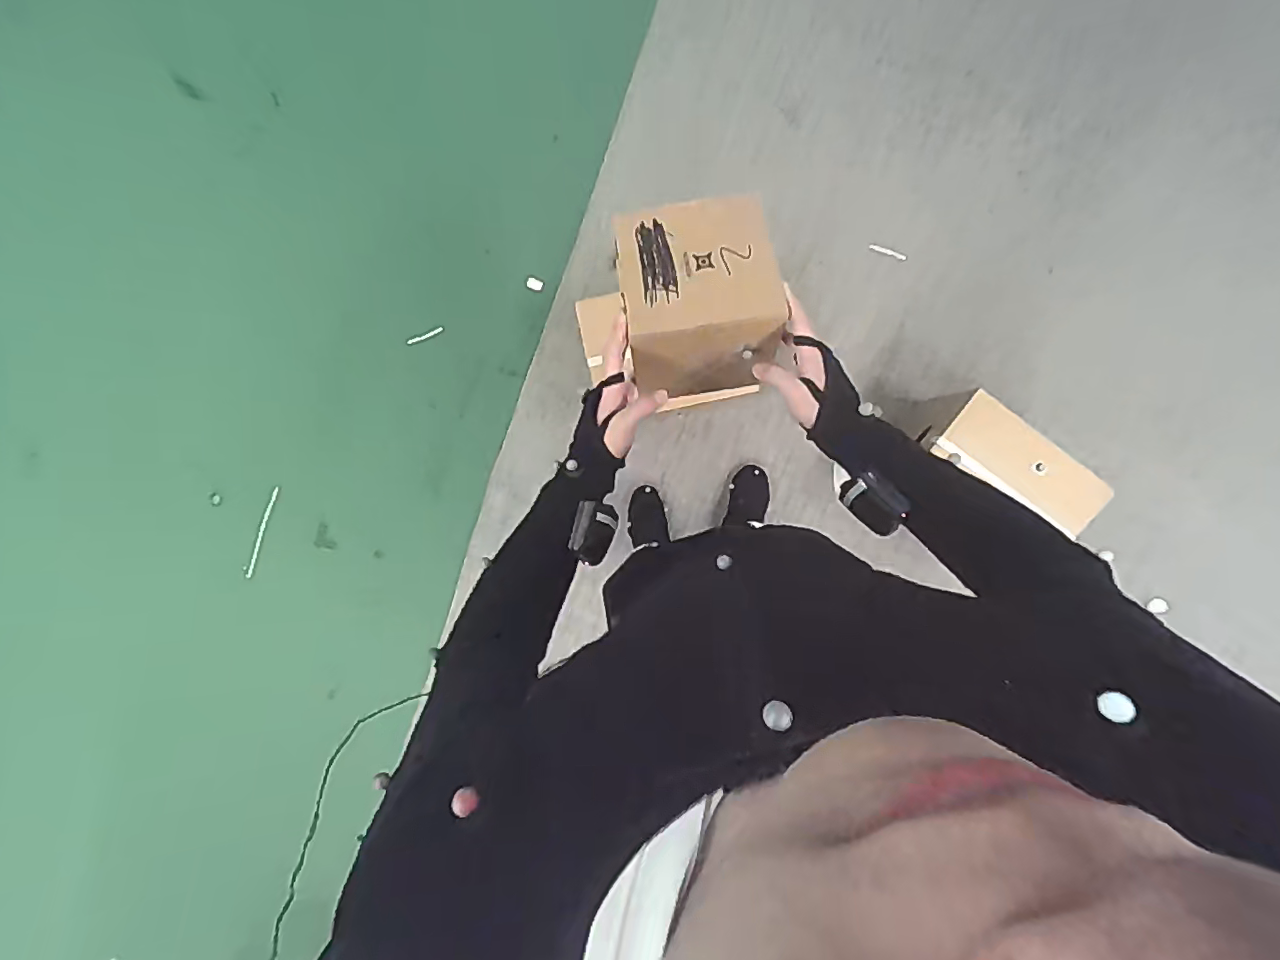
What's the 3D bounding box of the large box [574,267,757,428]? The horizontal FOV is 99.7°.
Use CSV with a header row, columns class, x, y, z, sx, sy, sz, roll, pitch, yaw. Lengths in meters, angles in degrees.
class,x,y,z,sx,sy,sz,roll,pitch,yaw
large box,0.071,-0.335,1.471,0.408,0.320,0.320,-12,92,5
